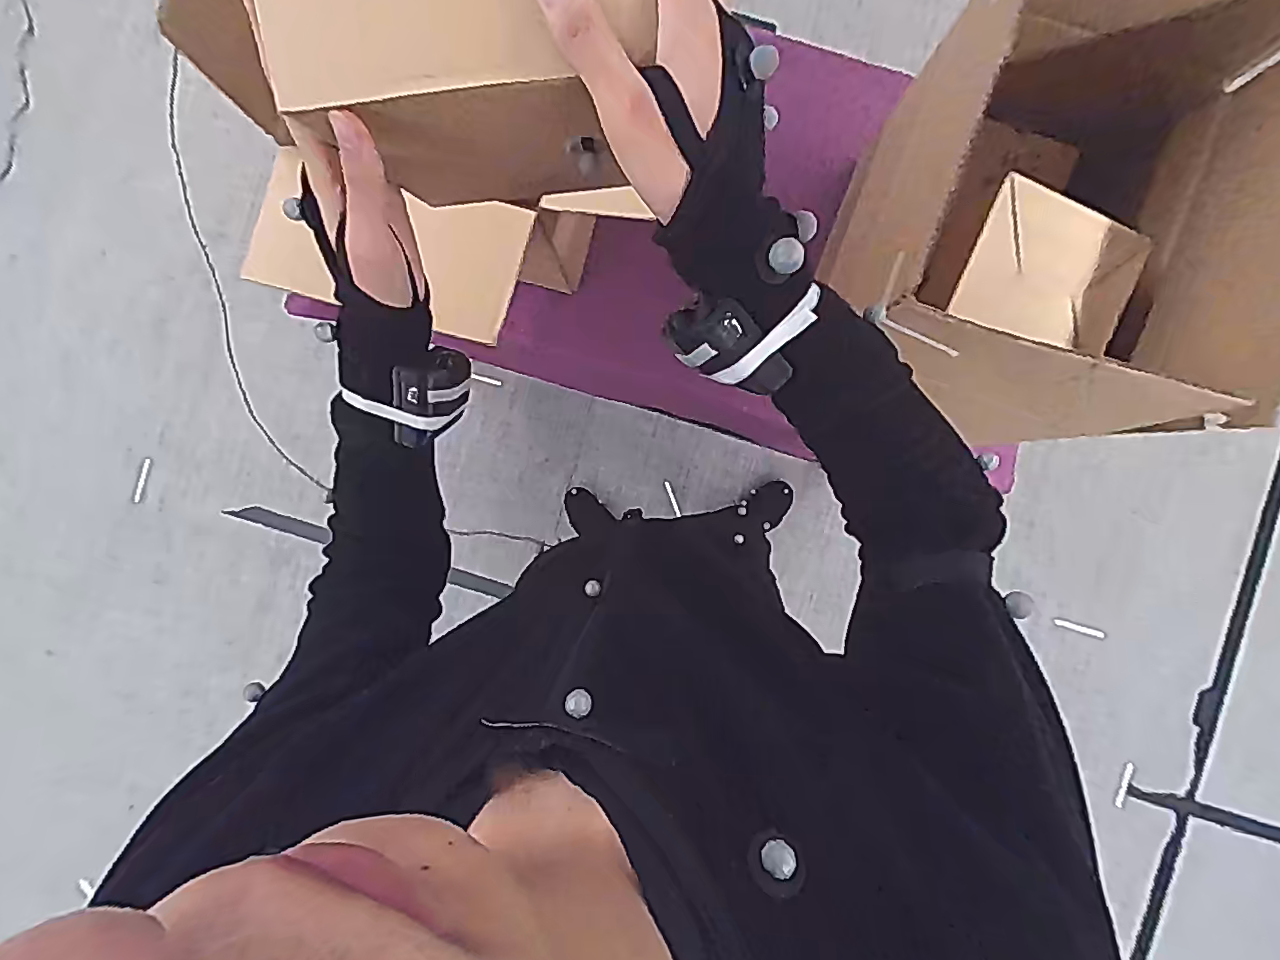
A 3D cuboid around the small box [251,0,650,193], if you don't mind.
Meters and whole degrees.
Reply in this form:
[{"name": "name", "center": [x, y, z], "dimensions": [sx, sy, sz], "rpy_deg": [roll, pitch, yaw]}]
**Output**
[{"name": "small box", "center": [-0.085, -0.277, 0.302], "dimensions": [0.179, 0.176, 0.168], "rpy_deg": [-4, 102, 4]}]
